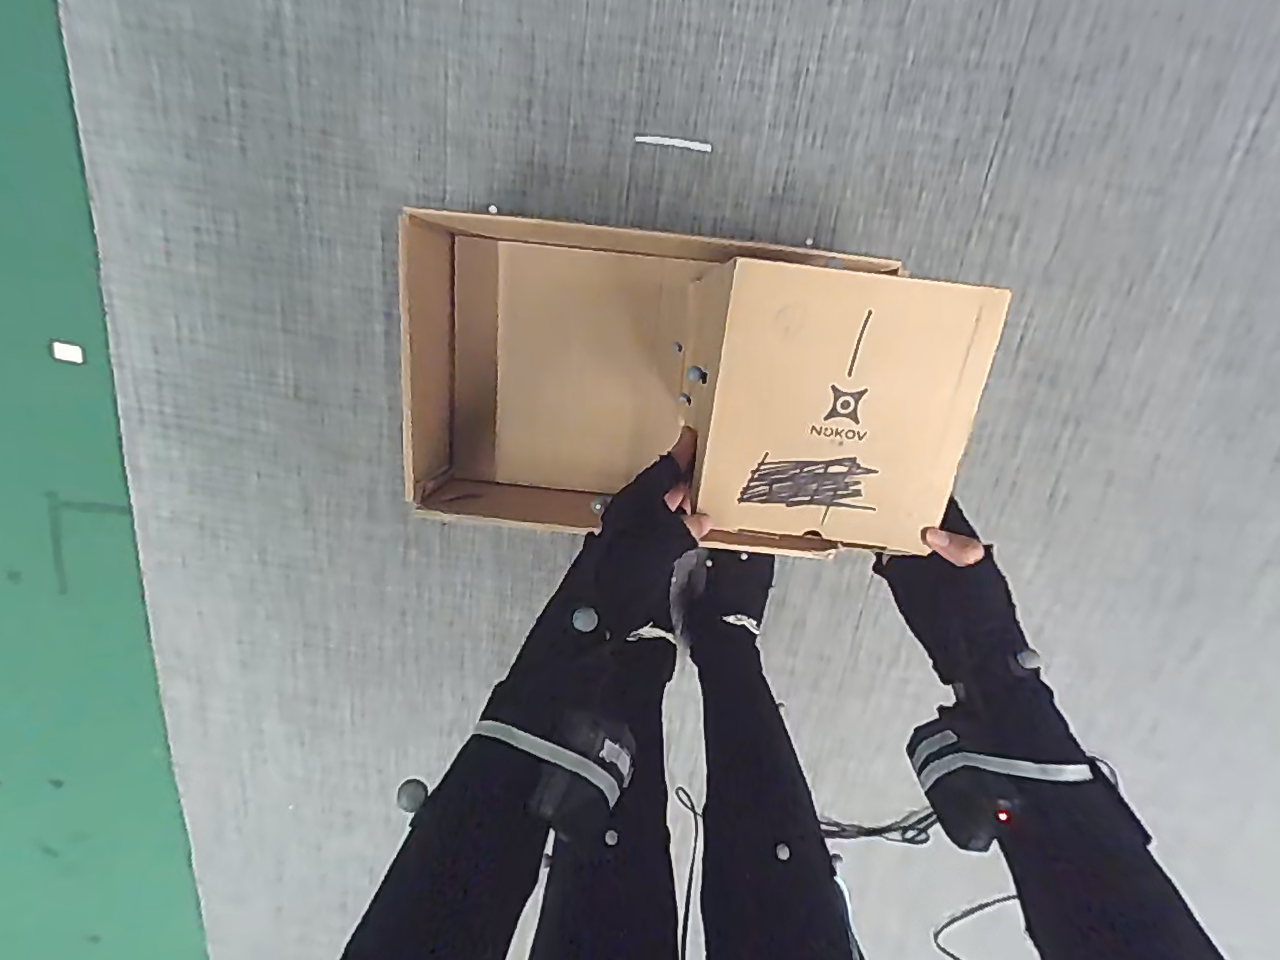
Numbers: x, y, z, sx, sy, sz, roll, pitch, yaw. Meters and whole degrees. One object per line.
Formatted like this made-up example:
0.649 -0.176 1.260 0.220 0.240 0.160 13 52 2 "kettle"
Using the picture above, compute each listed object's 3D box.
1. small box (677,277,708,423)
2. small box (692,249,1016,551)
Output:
0.138 -0.175 0.728 0.168 0.176 0.179 3 107 4 "small box"
0.133 -0.068 0.417 0.168 0.176 0.179 7 108 0 "small box"
